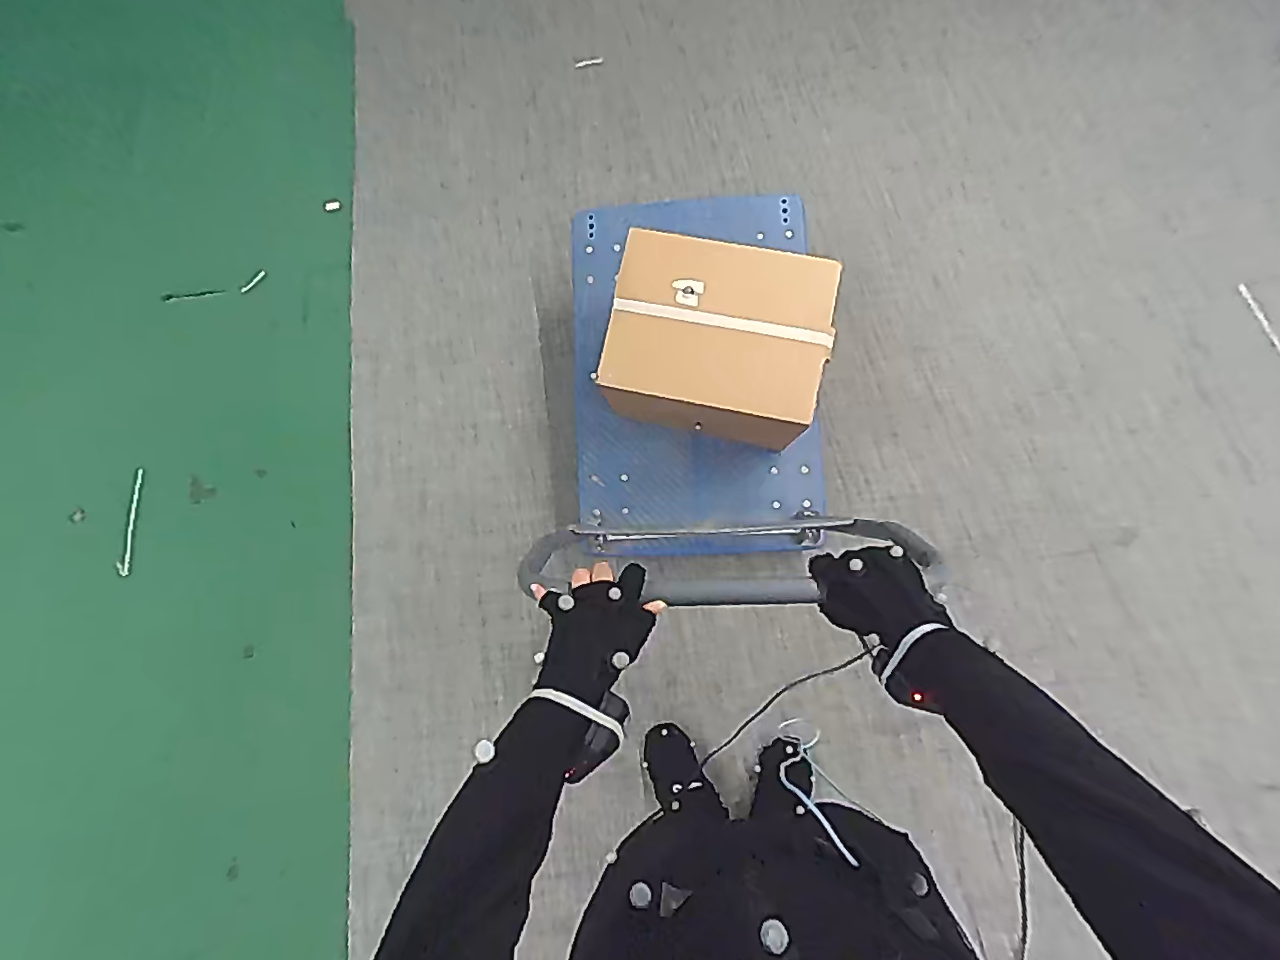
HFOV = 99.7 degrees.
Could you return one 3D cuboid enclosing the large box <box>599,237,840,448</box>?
[{"bbox_3d":[0.162,-0.267,1.146,0.408,0.320,0.320,12,86,7],"label":"large box"}]
